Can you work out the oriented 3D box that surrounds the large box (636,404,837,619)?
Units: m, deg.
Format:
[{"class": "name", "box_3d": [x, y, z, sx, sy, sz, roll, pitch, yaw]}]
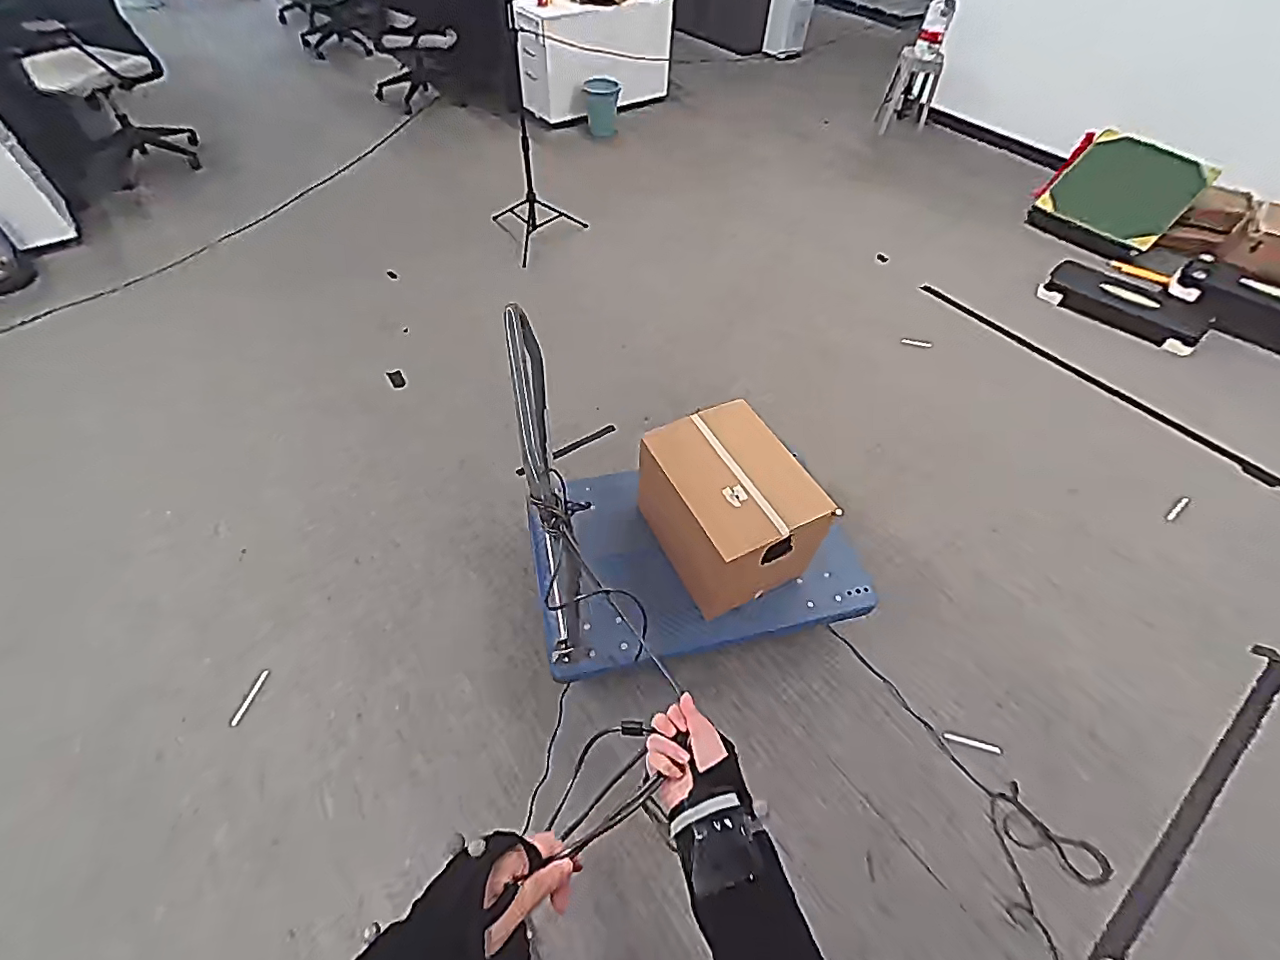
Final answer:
[{"class": "large box", "box_3d": [0.218, 0.077, 1.406, 0.320, 0.320, 0.408, -22, 57, -17]}]
